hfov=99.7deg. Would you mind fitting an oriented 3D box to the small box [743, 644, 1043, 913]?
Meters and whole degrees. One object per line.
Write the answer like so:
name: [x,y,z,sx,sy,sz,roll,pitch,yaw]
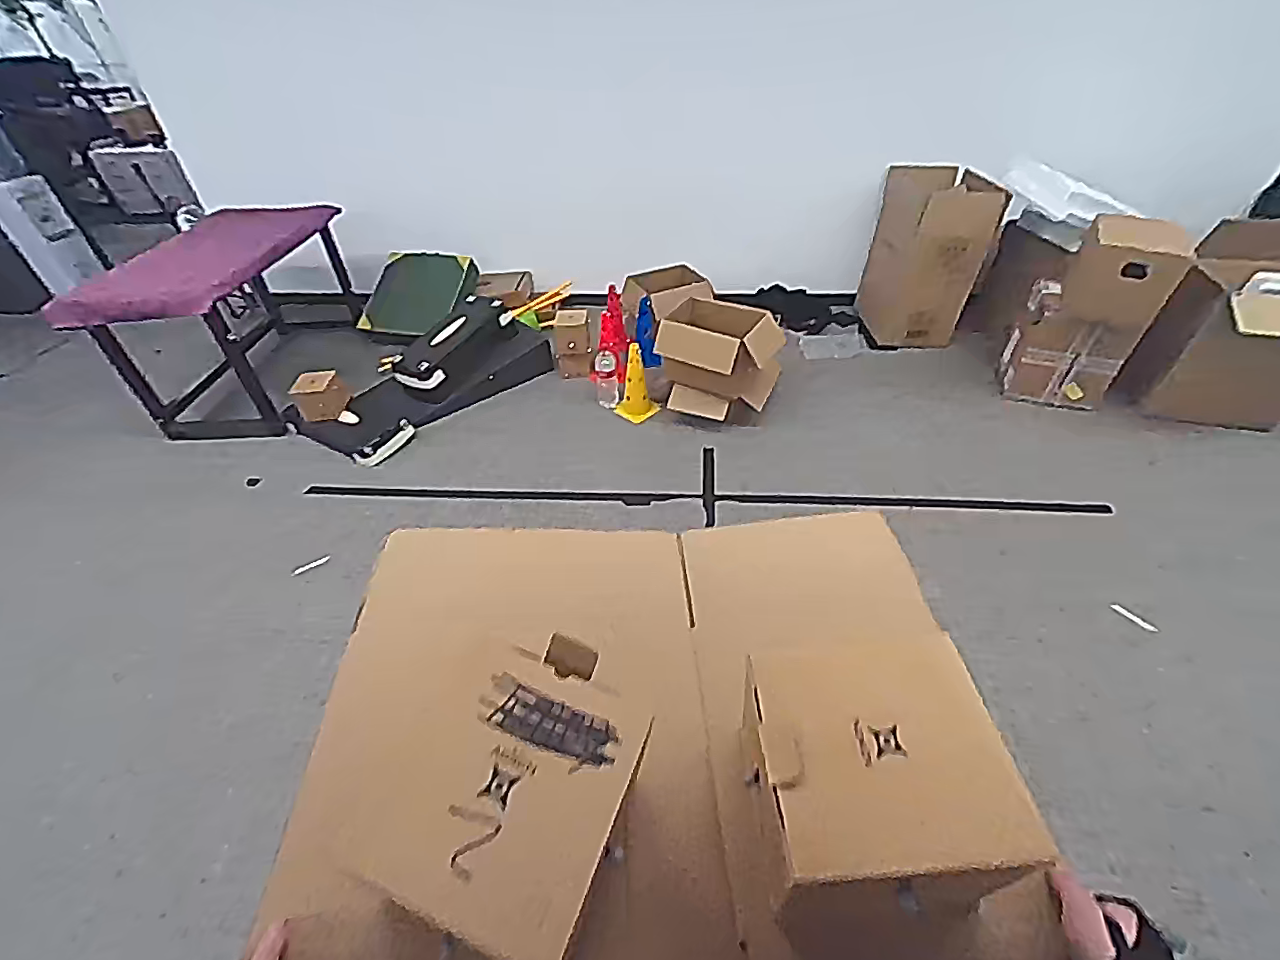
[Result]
small box: [0.194,0.267,0.481,0.179,0.176,0.168,-6,45,2]
